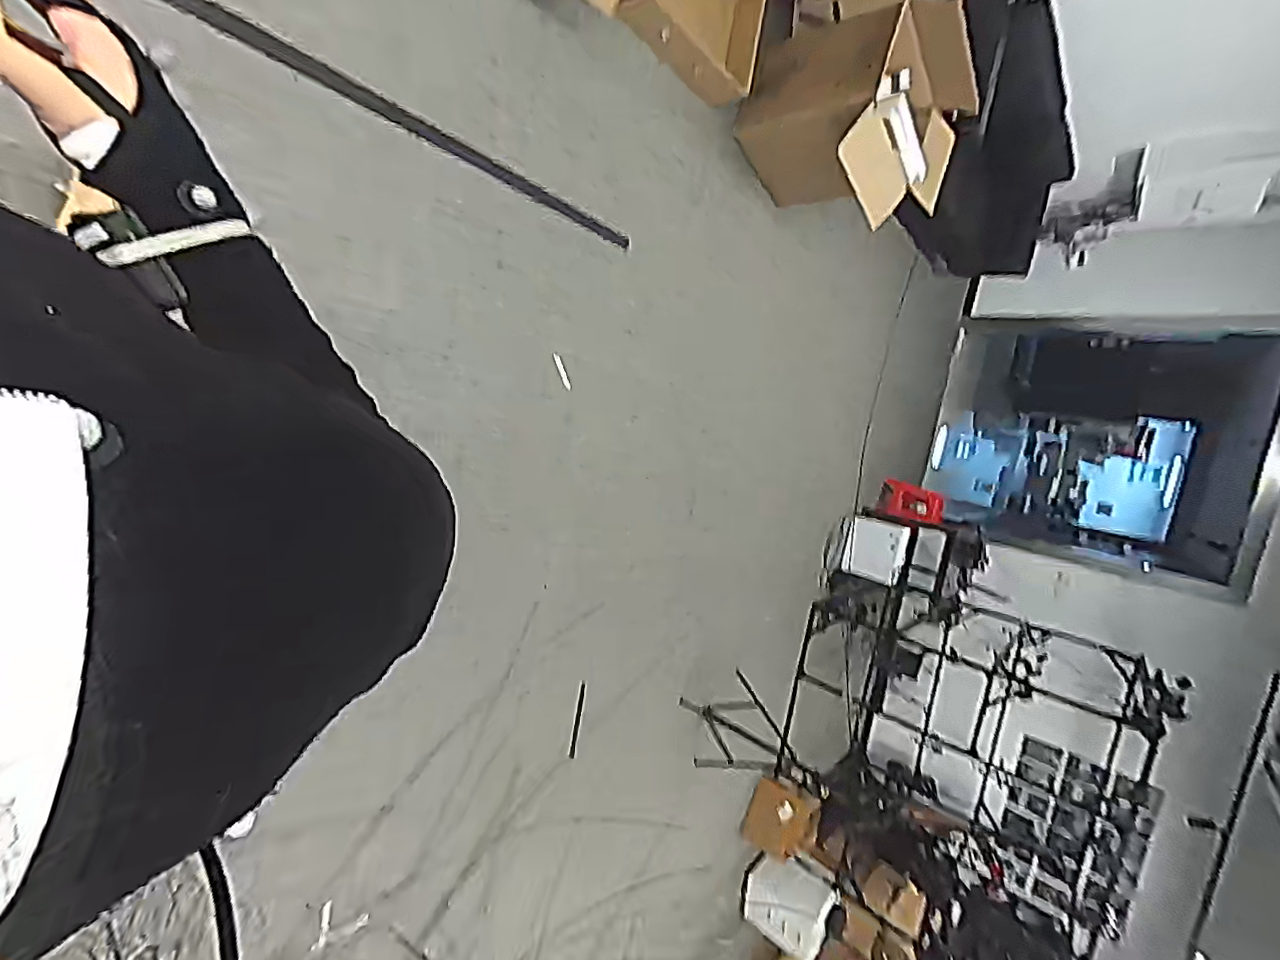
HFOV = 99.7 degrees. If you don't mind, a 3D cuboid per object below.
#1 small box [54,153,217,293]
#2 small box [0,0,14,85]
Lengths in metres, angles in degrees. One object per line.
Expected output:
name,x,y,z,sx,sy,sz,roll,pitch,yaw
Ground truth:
small box,-0.949,-0.472,1.019,0.179,0.176,0.168,24,83,-50
small box,-0.452,-0.326,0.264,0.168,0.176,0.179,-13,117,-48
